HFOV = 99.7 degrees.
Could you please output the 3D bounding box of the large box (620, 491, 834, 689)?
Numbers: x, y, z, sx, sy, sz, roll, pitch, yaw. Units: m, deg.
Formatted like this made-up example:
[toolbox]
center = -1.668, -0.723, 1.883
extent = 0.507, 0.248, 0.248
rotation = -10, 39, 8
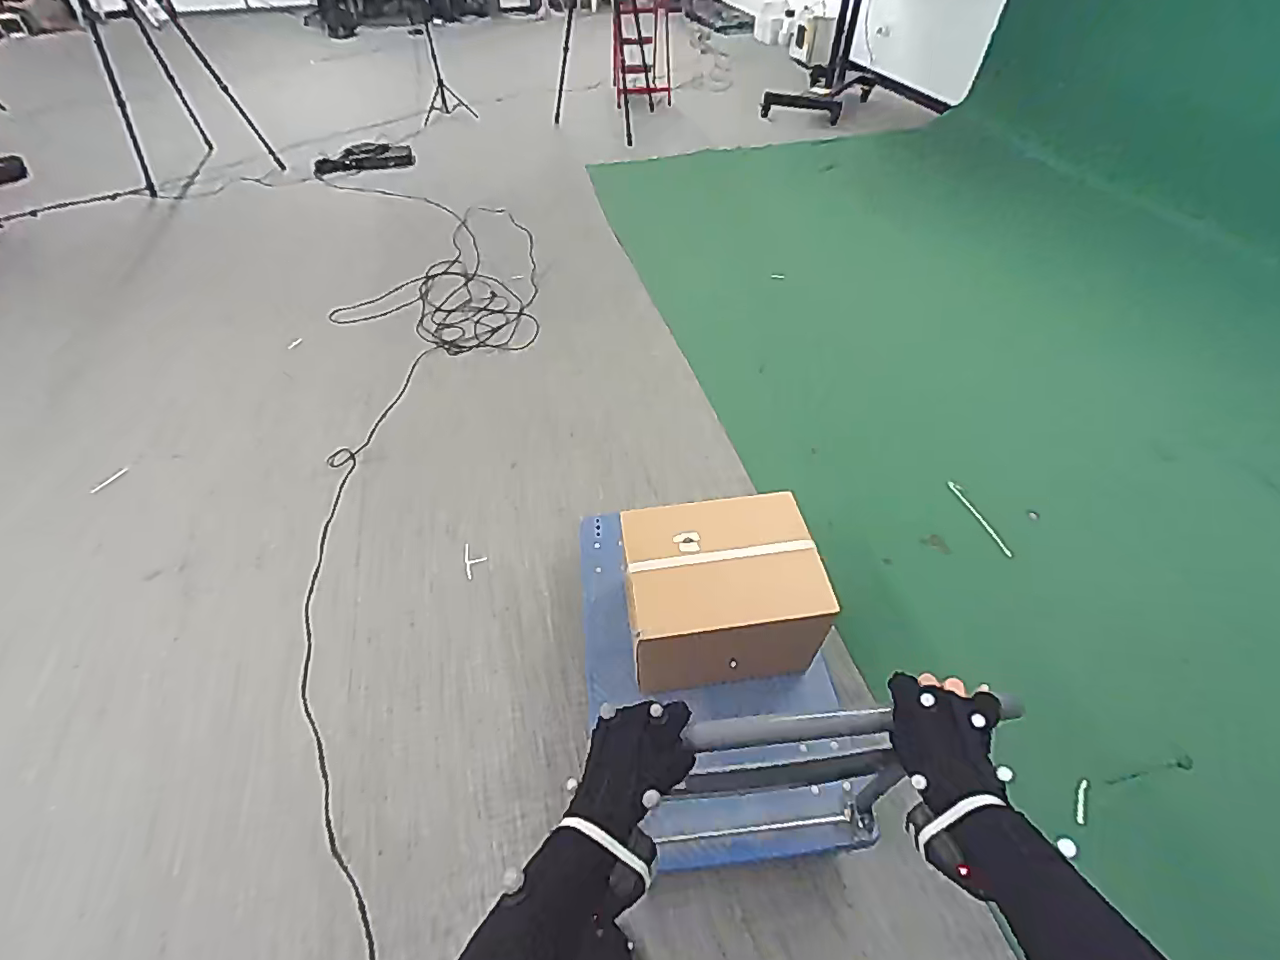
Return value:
[large box]
center = 0.177, 0.264, 1.274
extent = 0.408, 0.320, 0.320
rotation = -8, 50, -4
